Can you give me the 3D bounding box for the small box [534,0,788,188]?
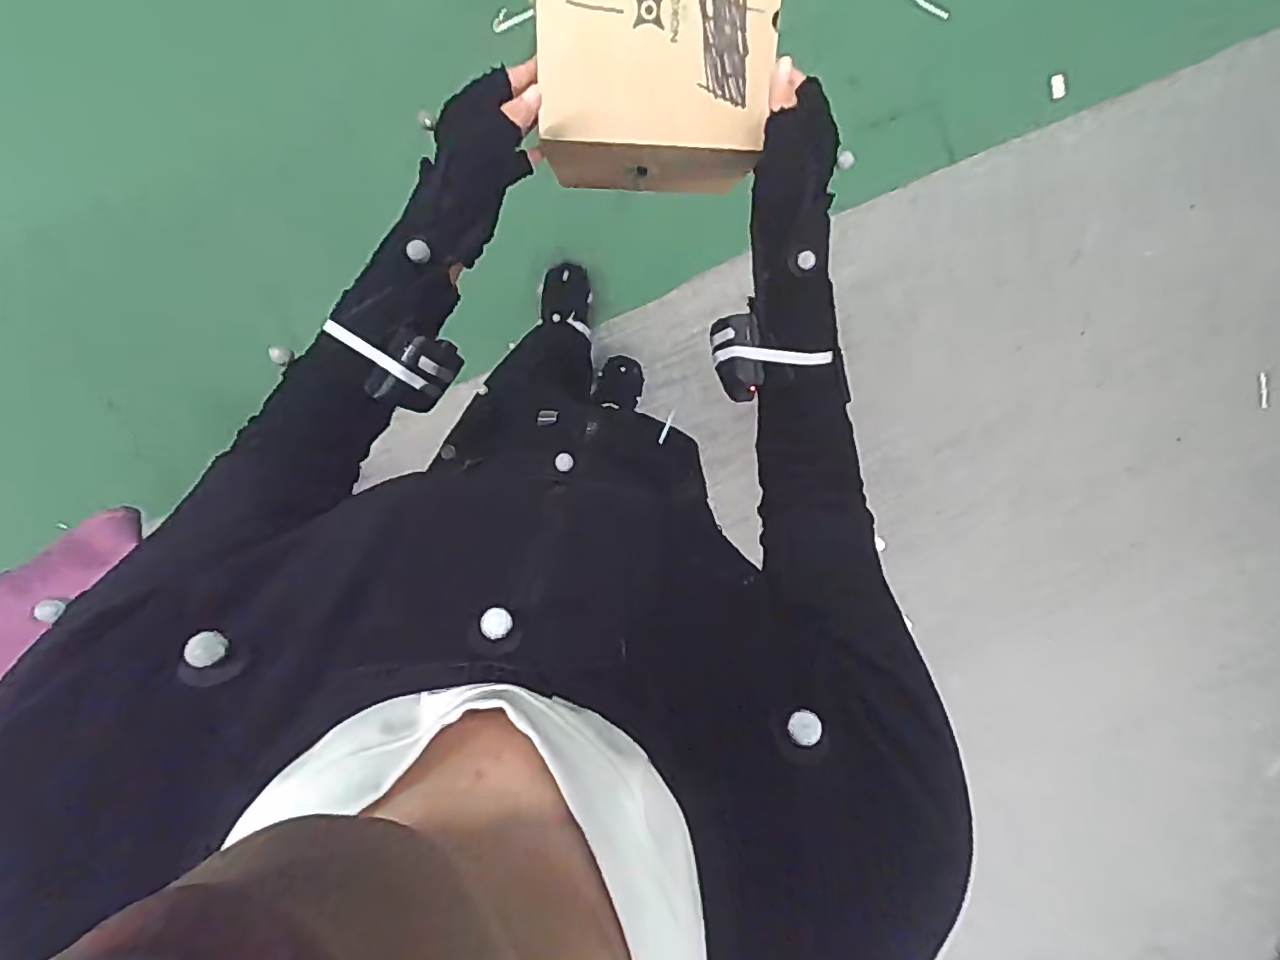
[{"bbox_3d":[0.013,-0.356,0.448,0.179,0.176,0.168,4,106,-4],"label":"small box"}]
